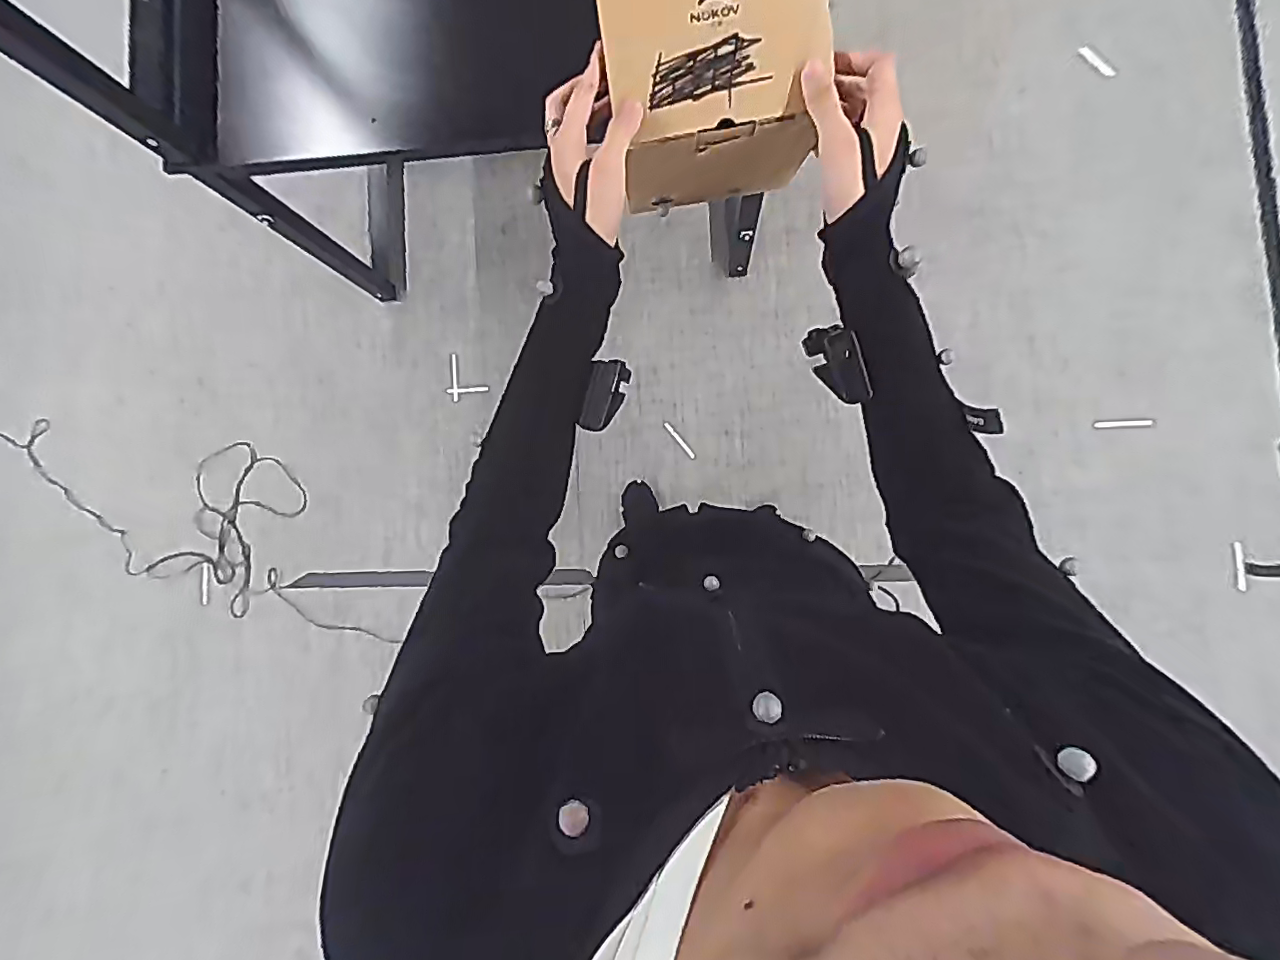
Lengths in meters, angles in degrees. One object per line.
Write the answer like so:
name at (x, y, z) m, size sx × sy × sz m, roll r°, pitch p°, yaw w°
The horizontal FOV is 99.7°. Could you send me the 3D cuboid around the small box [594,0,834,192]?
small box at (0.051, -0.364, 0.455) m, size 0.168 × 0.176 × 0.179 m, roll -8°, pitch 99°, yaw 3°
